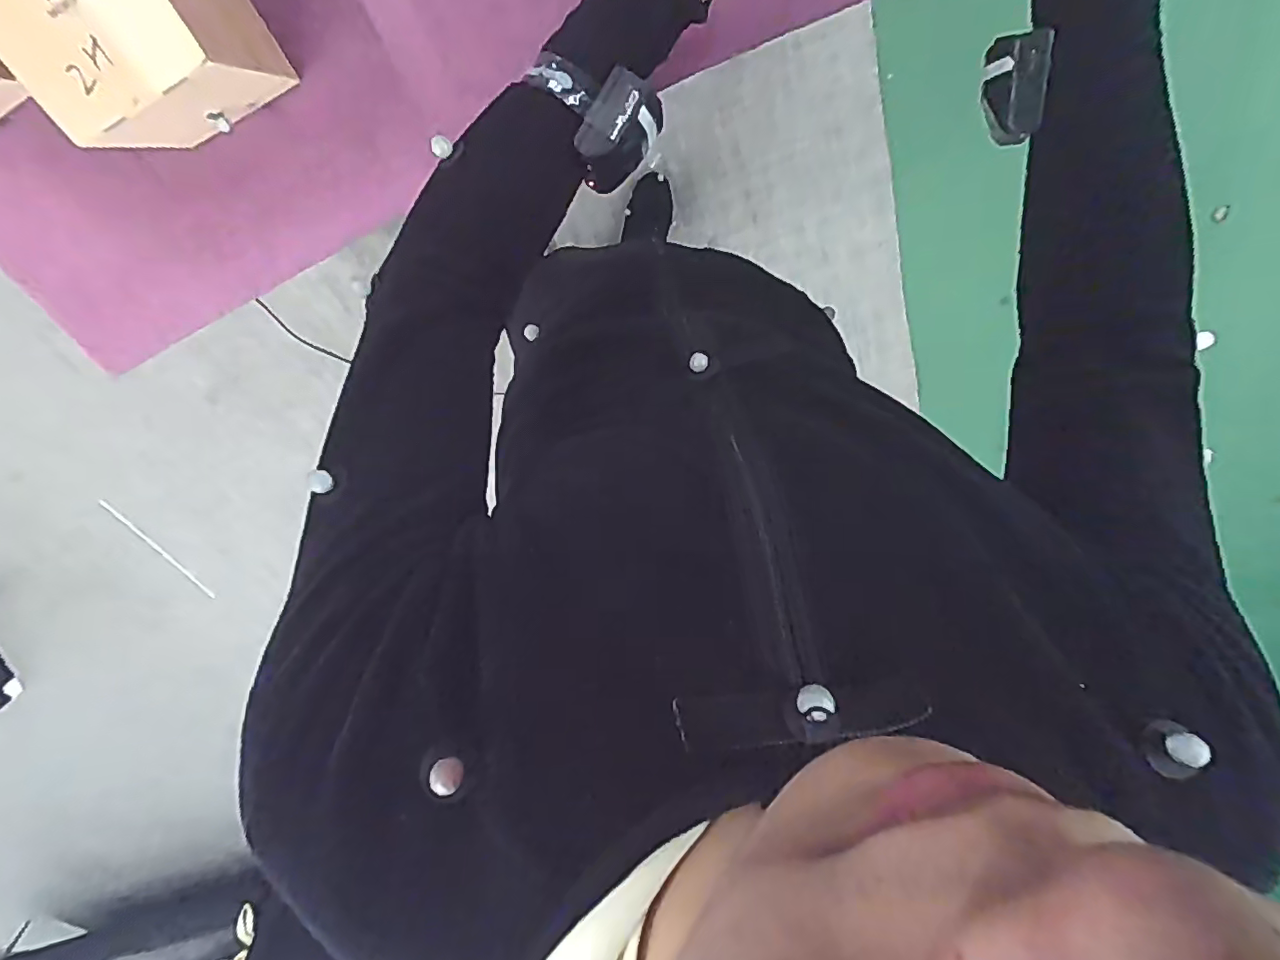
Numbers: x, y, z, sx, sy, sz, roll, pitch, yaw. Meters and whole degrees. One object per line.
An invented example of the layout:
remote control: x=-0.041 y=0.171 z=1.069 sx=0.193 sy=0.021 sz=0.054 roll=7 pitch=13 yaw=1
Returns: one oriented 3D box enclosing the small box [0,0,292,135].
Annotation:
small box: x=-0.493 y=-0.458 z=0.519 sx=0.168 sy=0.176 sz=0.179 roll=-21 pitch=121 yaw=10
